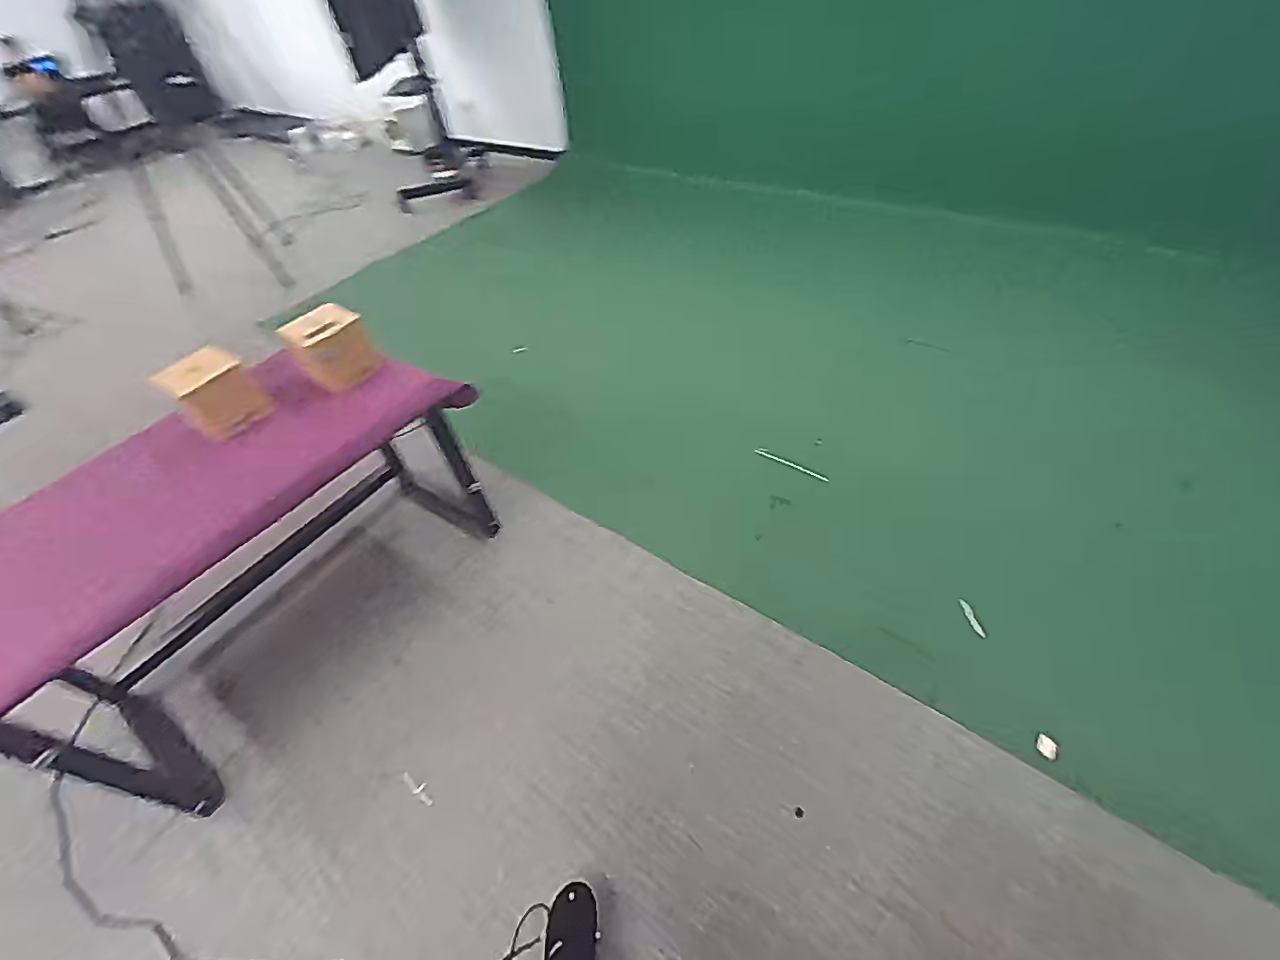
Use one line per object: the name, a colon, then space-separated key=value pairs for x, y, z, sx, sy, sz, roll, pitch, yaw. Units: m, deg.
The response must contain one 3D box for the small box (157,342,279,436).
small box: x=-1.149 y=-0.247 z=1.485 sx=0.179 sy=0.176 sz=0.168 roll=25 pitch=56 yaw=25
